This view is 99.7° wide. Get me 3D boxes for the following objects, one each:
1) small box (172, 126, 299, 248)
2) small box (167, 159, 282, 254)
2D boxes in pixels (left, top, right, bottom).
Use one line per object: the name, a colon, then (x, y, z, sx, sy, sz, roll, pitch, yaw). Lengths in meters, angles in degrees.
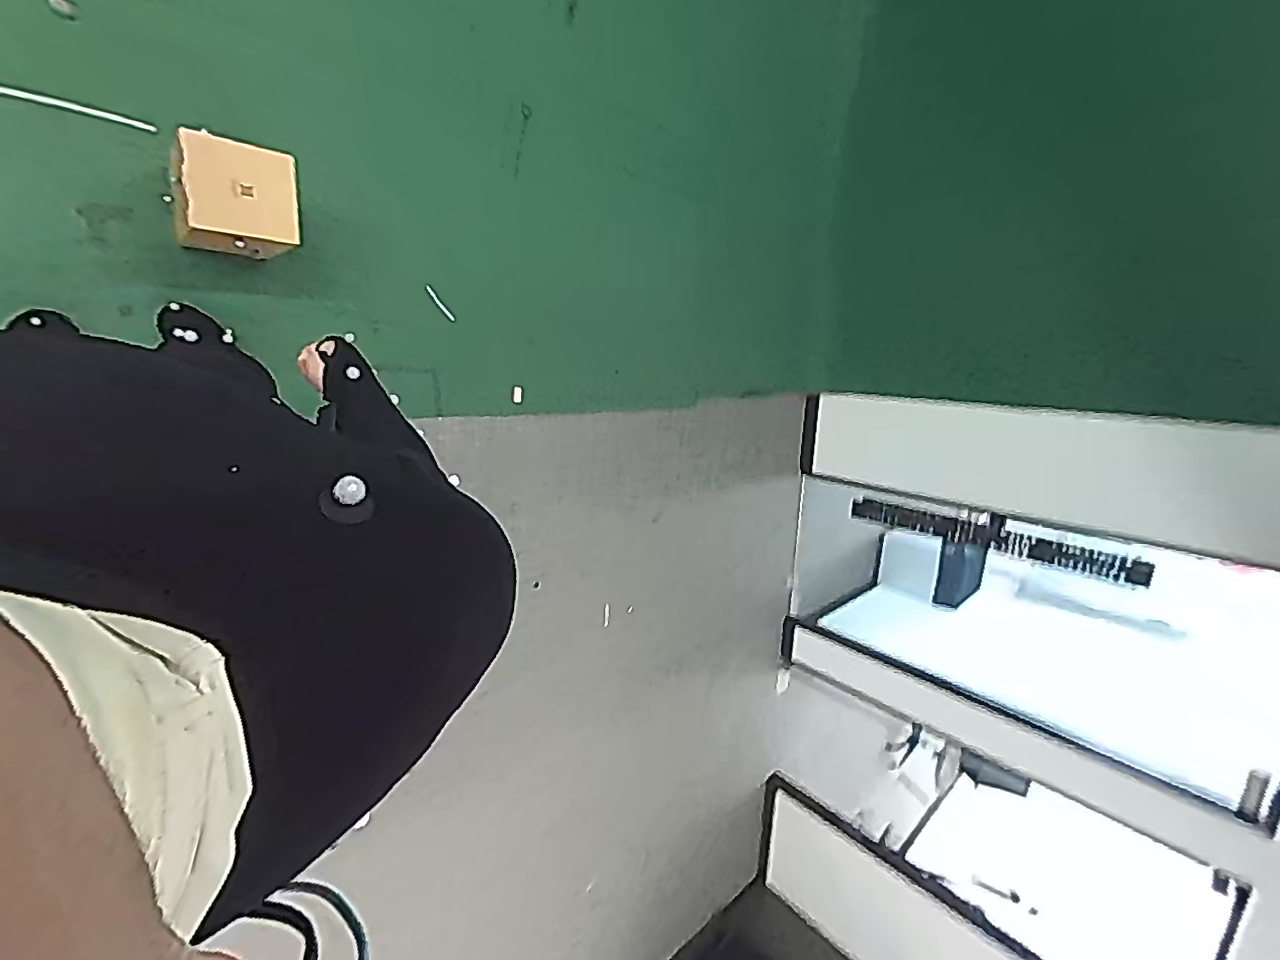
small box: (-0.800, -0.564, 1.071, 0.179, 0.176, 0.168, -7, 107, -42)
small box: (-0.910, -0.600, 1.186, 0.179, 0.176, 0.168, -6, 106, -43)
